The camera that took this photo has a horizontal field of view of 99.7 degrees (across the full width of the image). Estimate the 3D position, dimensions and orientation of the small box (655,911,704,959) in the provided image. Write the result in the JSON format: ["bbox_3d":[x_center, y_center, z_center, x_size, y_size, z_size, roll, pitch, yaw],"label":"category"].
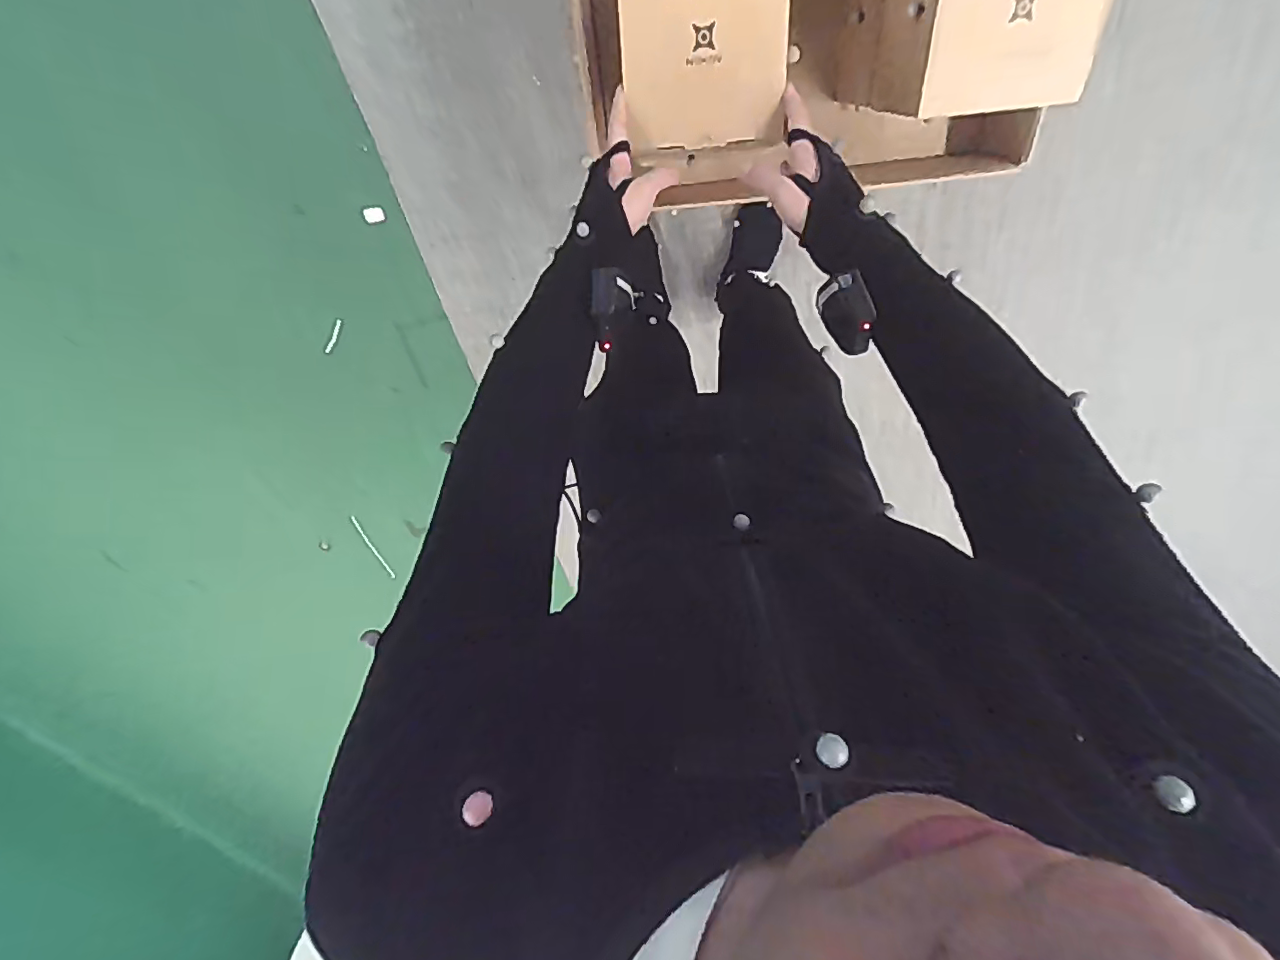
[{"bbox_3d":[0.153,1.792,2.082,0.168,0.176,0.179,-11,123,7],"label":"small box"}]

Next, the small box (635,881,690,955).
[{"bbox_3d":[0.082,1.538,1.900,0.168,0.176,0.179,-9,126,7],"label":"small box"}]

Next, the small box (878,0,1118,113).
[{"bbox_3d":[0.374,-0.507,0.579,0.168,0.176,0.179,-3,127,5],"label":"small box"}]

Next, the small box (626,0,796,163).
[{"bbox_3d":[0.073,-0.465,0.600,0.168,0.176,0.179,-2,117,6],"label":"small box"}]
